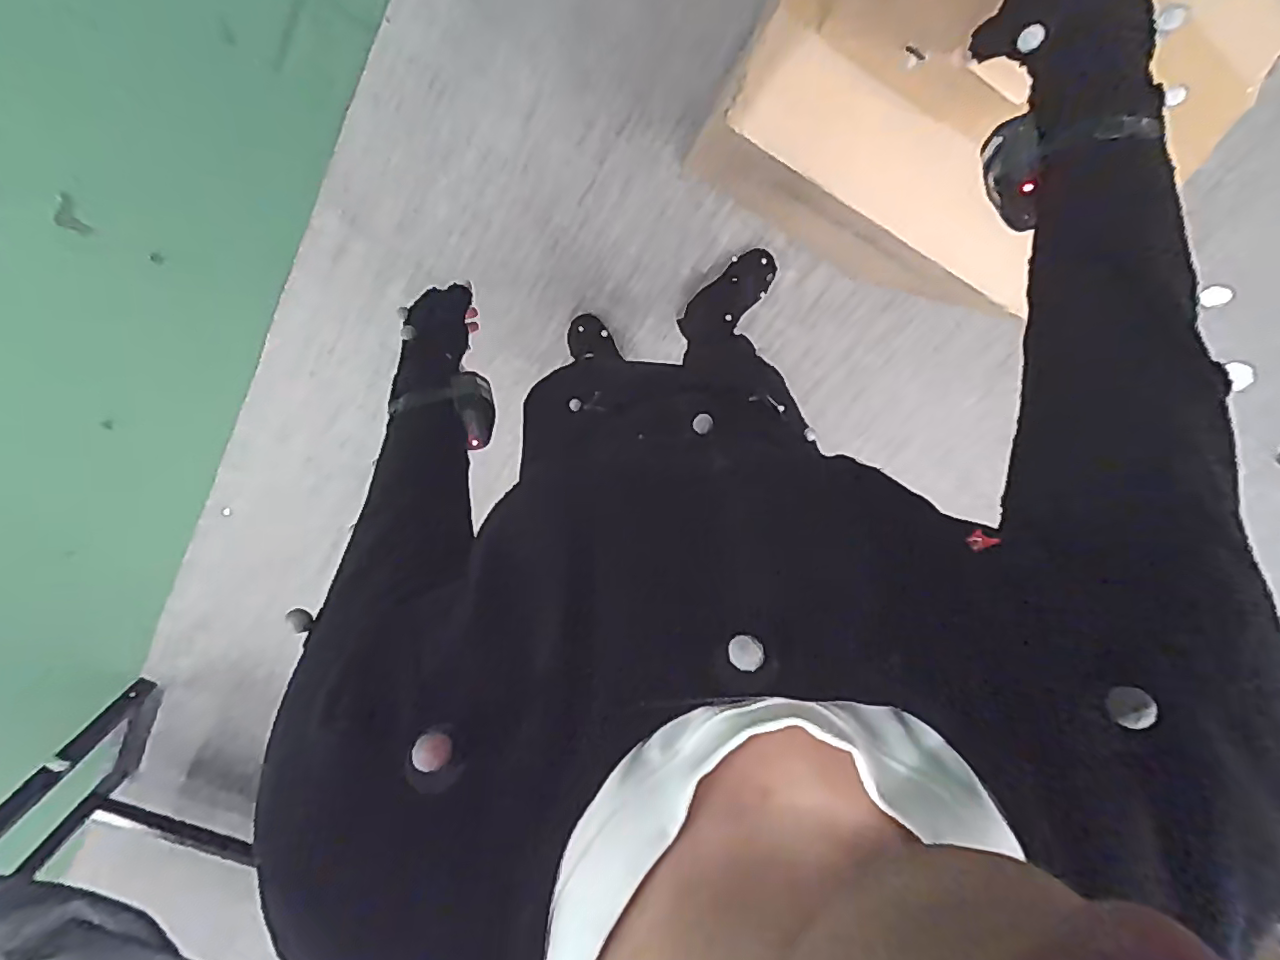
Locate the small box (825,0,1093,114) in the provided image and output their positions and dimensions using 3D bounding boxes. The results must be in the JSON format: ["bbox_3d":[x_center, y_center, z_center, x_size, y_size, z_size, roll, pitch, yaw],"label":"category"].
[{"bbox_3d":[0.306,-0.476,0.509,0.179,0.176,0.168,26,118,-13],"label":"small box"}]
